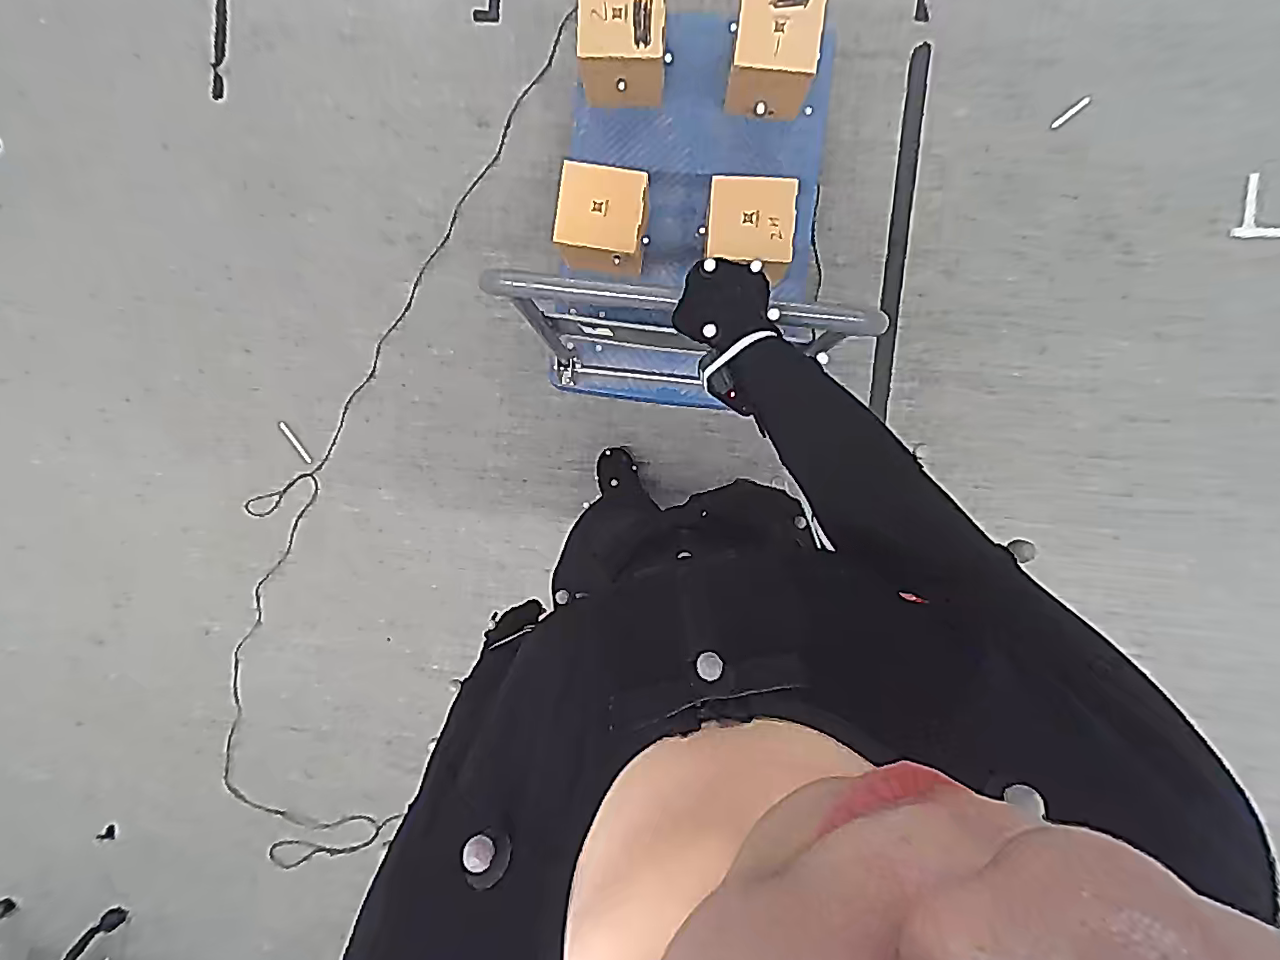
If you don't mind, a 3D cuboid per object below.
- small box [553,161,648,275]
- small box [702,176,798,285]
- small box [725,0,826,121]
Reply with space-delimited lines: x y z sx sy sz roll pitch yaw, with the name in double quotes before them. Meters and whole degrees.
"small box" -0.080 -0.563 1.183 0.179 0.176 0.168 9 94 0
"small box" 0.228 -0.532 1.171 0.179 0.176 0.168 4 95 2
"small box" 0.279 -0.903 1.141 0.168 0.176 0.179 7 96 2
